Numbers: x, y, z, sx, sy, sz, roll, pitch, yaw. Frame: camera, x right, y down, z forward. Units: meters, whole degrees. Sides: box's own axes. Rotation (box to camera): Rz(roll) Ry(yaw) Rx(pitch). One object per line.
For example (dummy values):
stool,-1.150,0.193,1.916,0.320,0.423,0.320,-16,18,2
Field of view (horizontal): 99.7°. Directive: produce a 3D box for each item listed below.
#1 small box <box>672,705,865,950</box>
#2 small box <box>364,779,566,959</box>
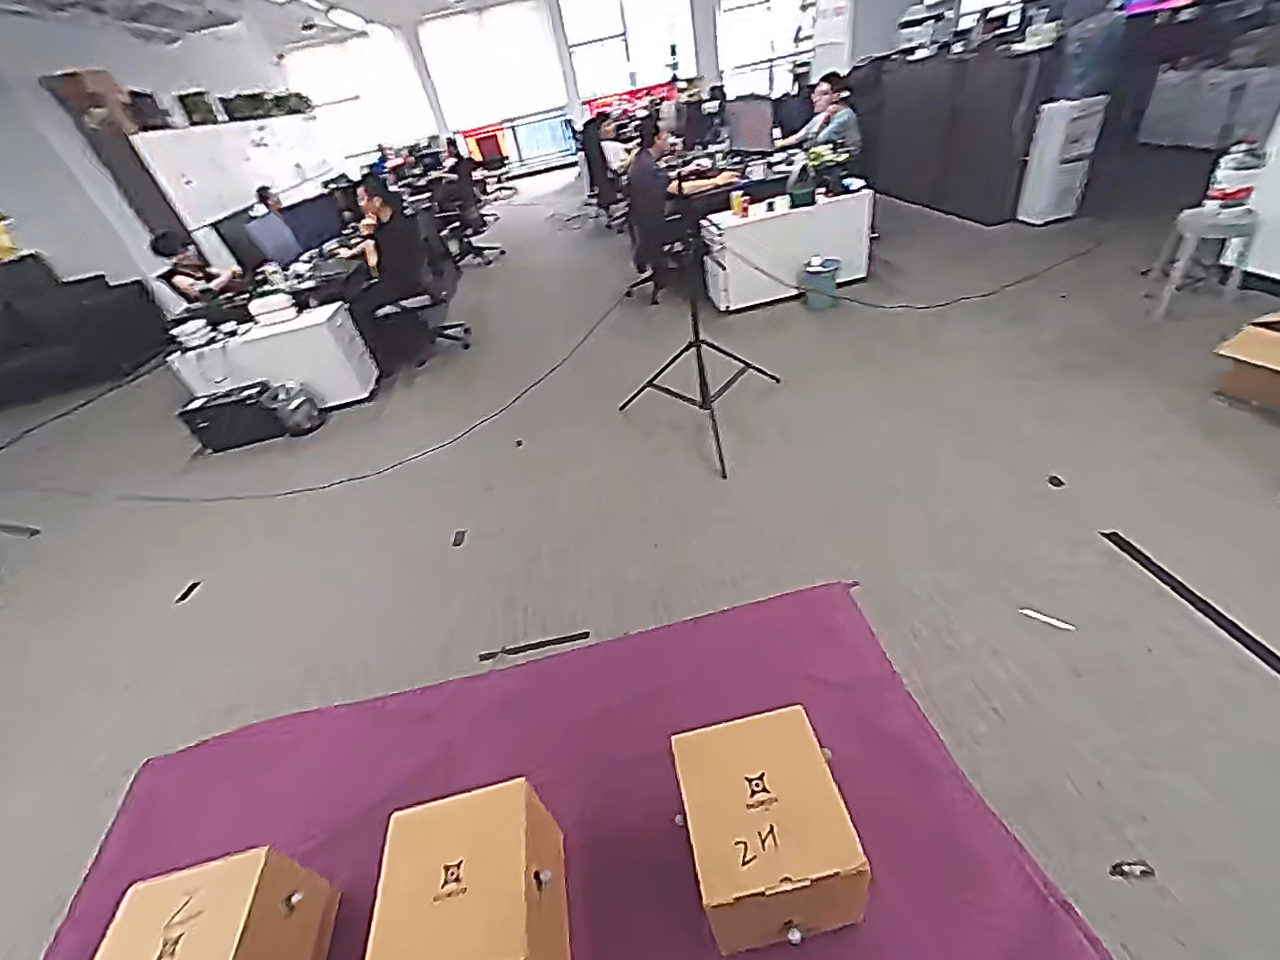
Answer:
small box,0.141,0.402,0.633,0.168,0.176,0.179,-14,36,0
small box,-0.188,0.489,0.626,0.168,0.176,0.179,-15,37,-2
